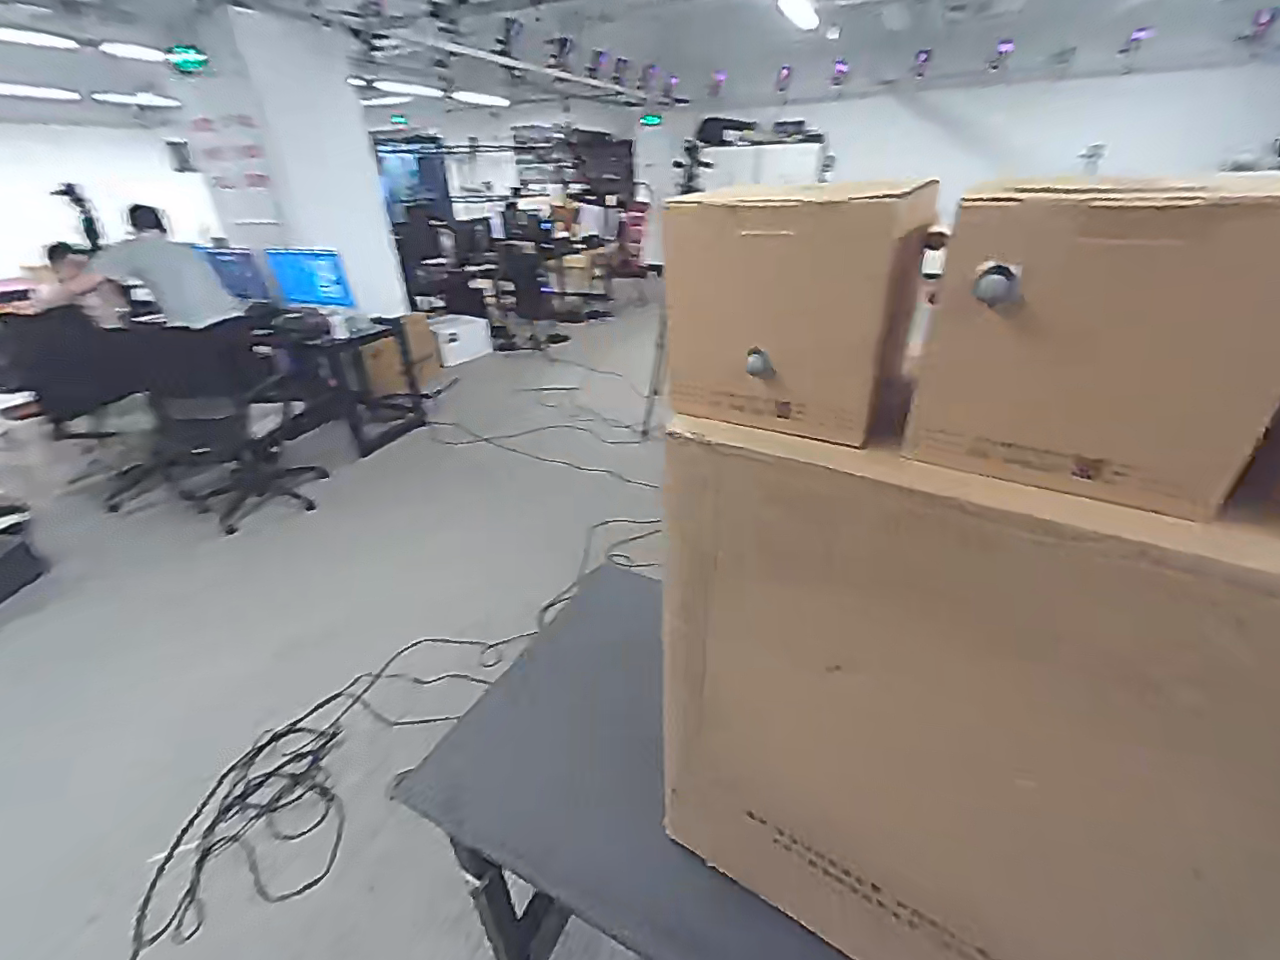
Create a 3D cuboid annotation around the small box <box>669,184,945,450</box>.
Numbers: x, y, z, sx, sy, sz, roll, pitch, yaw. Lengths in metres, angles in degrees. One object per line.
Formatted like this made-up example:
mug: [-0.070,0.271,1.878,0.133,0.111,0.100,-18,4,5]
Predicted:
small box: [0.134,-0.146,0.451,0.168,0.176,0.179,15,36,28]
